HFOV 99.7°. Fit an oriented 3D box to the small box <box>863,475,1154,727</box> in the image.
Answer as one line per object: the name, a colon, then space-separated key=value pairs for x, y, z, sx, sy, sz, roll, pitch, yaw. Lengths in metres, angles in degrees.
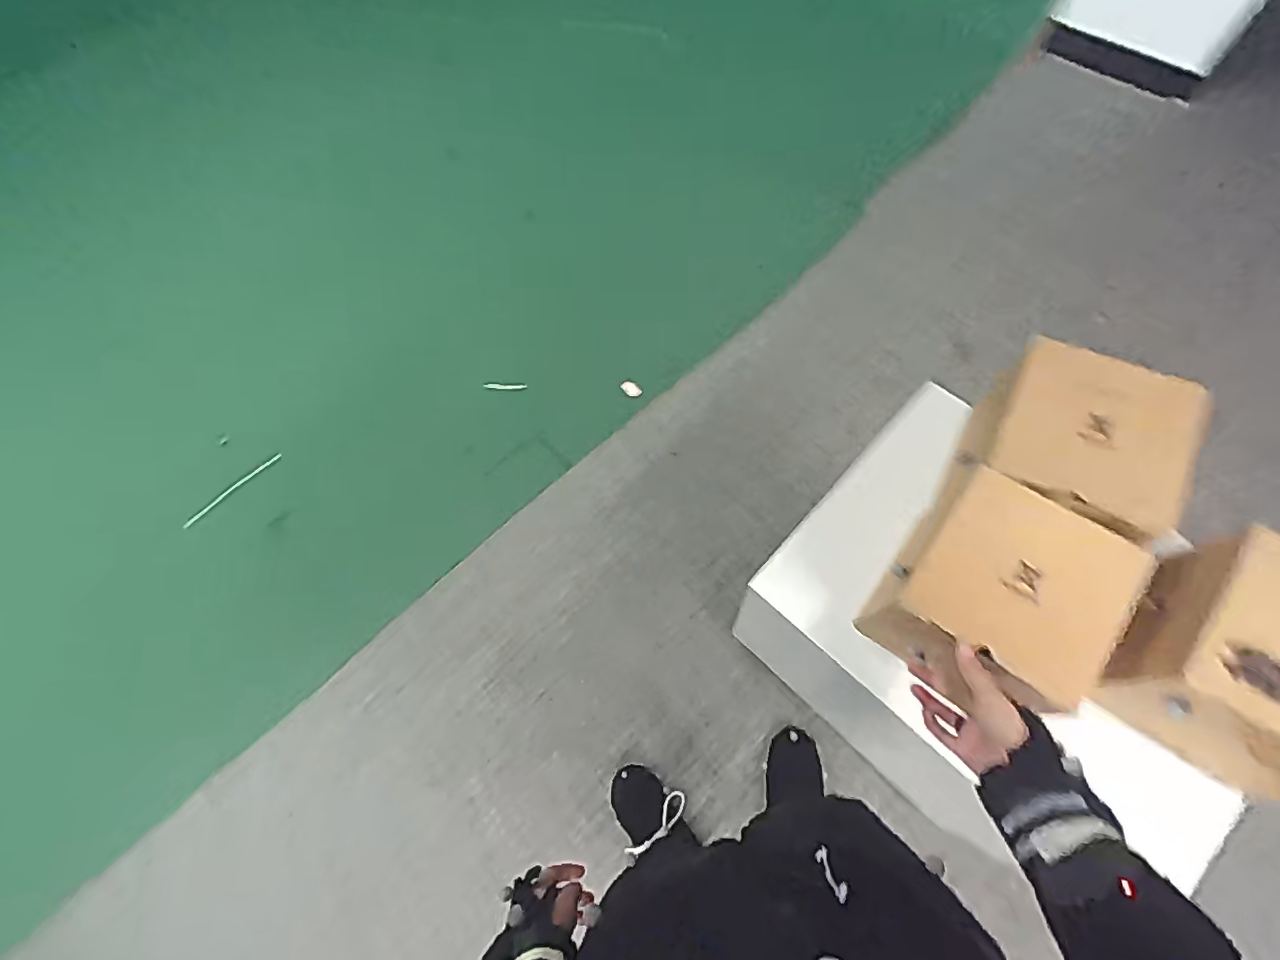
small box: x=0.365 y=0.131 z=0.572 sx=0.168 sy=0.176 sz=0.179 roll=34 pitch=75 yaw=18
